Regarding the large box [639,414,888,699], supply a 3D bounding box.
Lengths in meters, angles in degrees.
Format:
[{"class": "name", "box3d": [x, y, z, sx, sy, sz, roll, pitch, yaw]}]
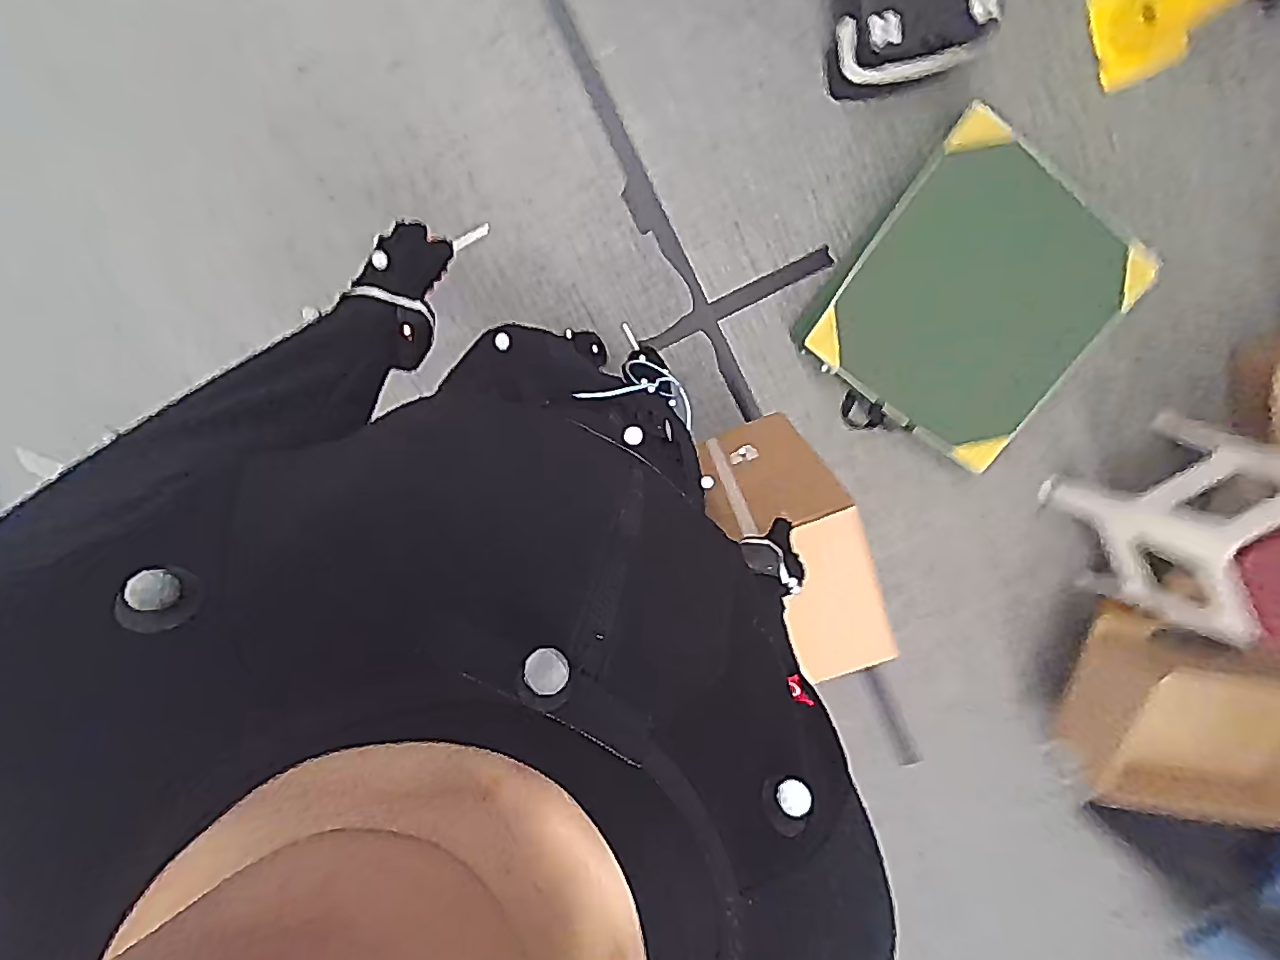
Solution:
[{"class": "large box", "box3d": [0.210, 0.126, 1.038, 0.320, 0.408, 0.320, -22, 114, 7]}]
